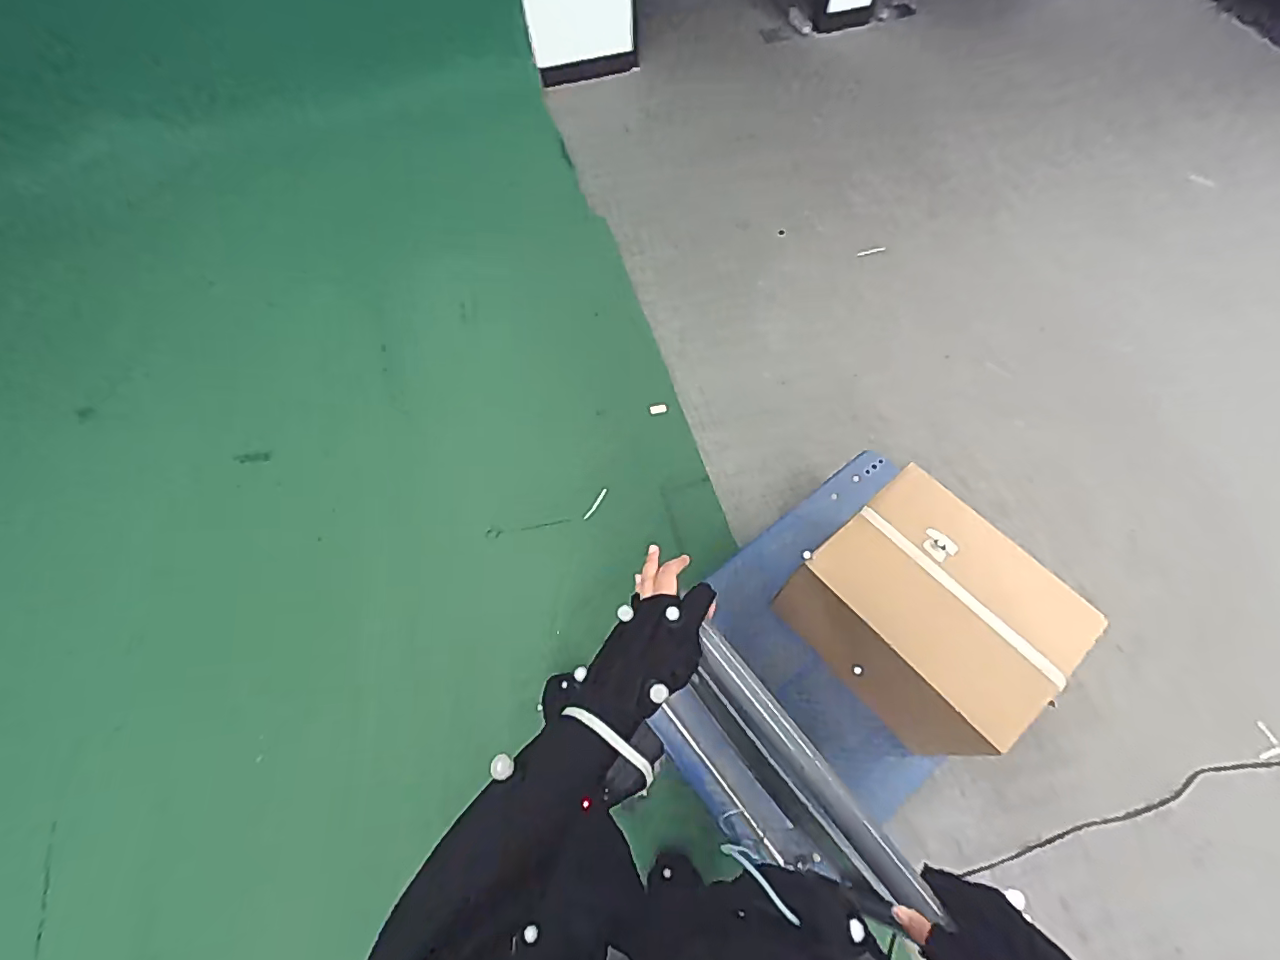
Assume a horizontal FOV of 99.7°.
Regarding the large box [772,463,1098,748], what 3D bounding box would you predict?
[{"bbox_3d":[0.530,0.253,1.062,0.320,0.320,0.408,-37,67,-16],"label":"large box"}]
